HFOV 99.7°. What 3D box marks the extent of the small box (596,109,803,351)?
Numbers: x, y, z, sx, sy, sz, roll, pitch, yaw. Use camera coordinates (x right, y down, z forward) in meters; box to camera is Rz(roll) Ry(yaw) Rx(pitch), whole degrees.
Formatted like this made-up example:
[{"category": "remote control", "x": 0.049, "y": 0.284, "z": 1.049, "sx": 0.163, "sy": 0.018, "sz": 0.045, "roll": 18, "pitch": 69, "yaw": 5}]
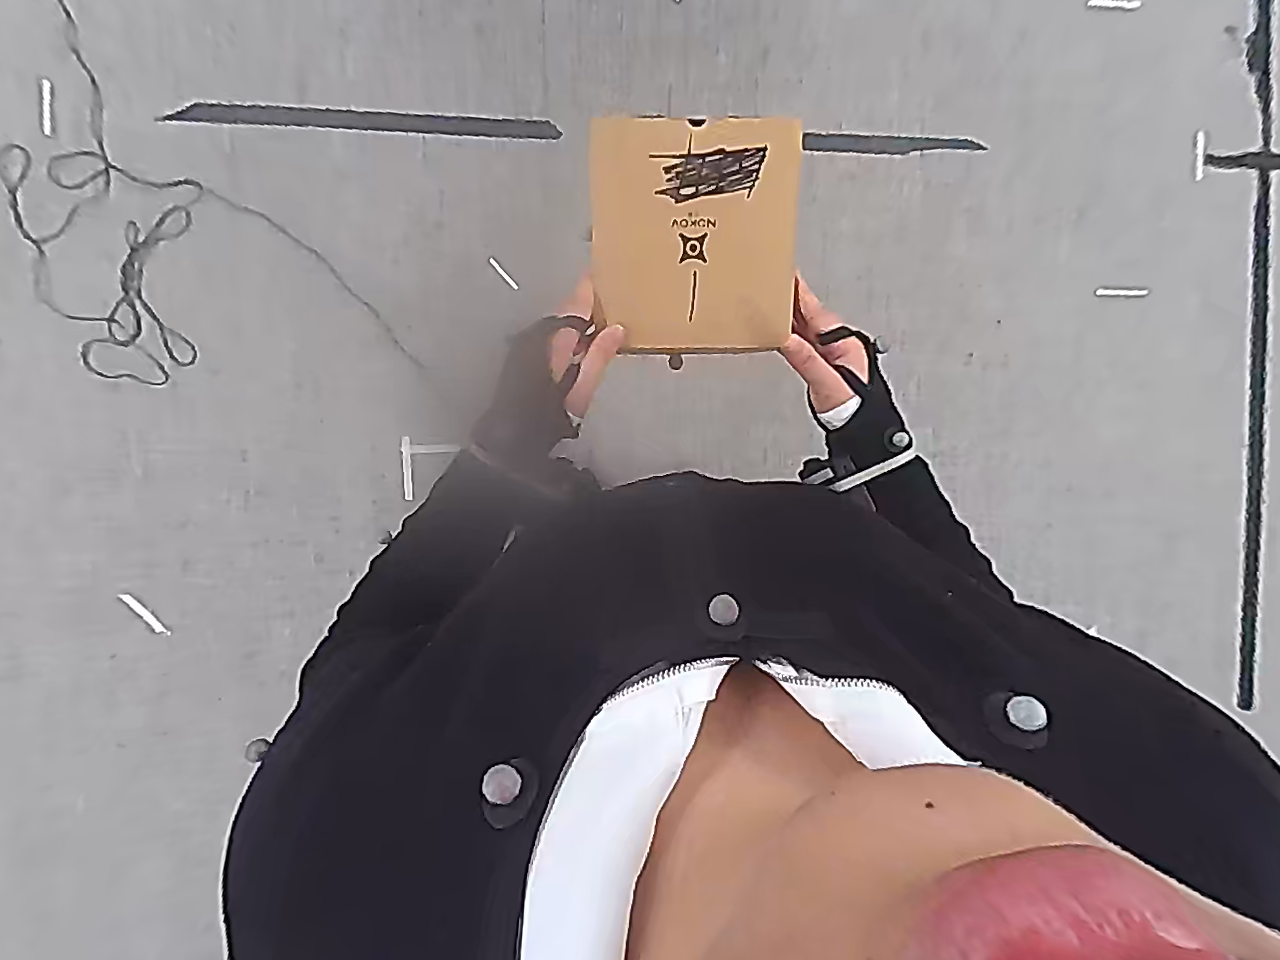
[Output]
[{"category": "small box", "x": 0.045, "y": -0.216, "z": 0.513, "sx": 0.168, "sy": 0.176, "sz": 0.179, "roll": 0, "pitch": 102, "yaw": 0}]
